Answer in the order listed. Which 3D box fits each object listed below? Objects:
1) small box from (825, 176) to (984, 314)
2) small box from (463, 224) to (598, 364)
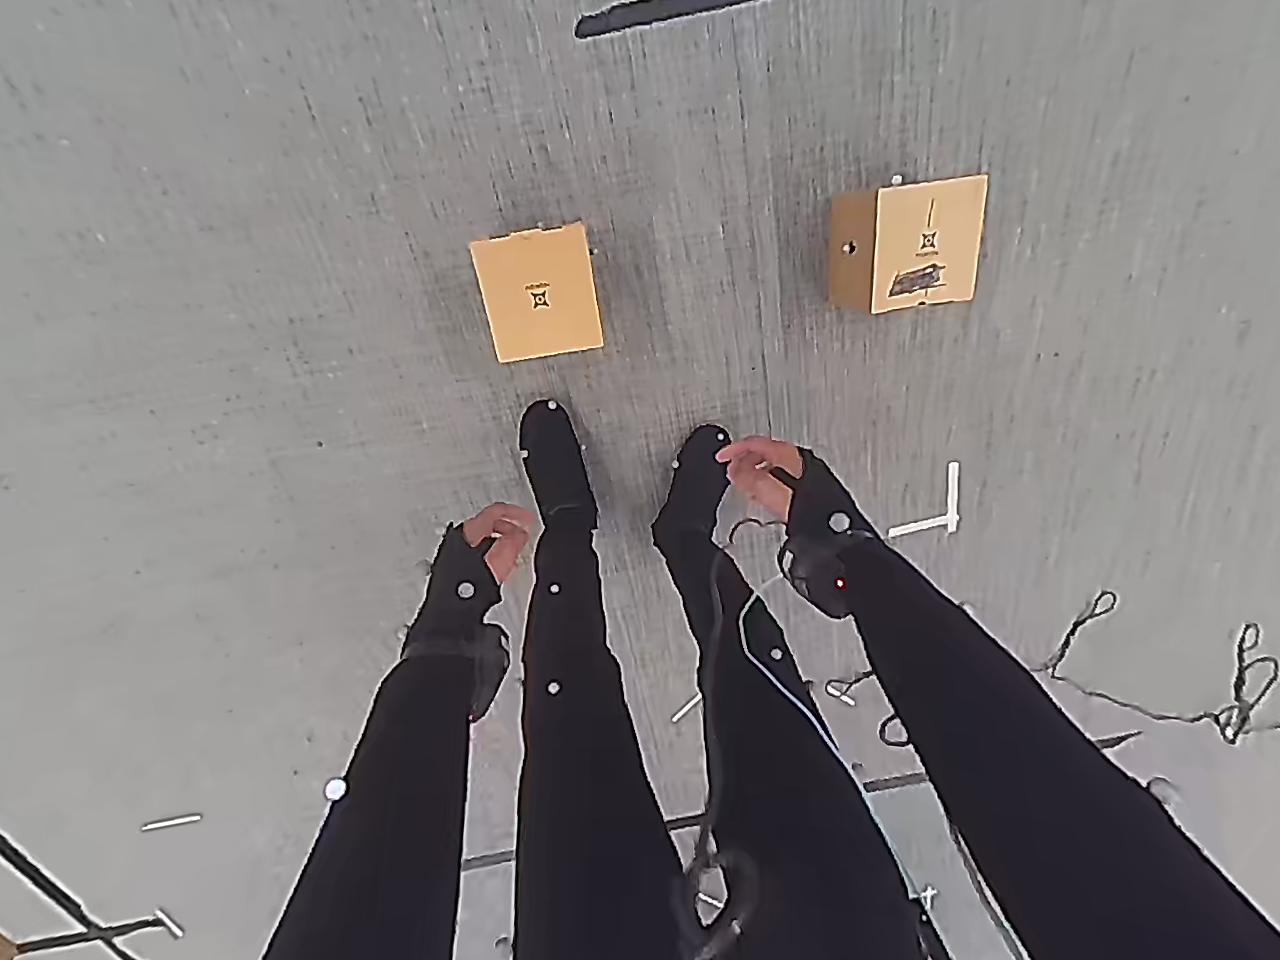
[{"bbox_3d":[0.409,-0.376,0.870,0.168,0.176,0.179,-9,114,-2],"label":"small box"},{"bbox_3d":[-0.159,-0.298,0.854,0.168,0.176,0.179,-10,114,0],"label":"small box"}]
